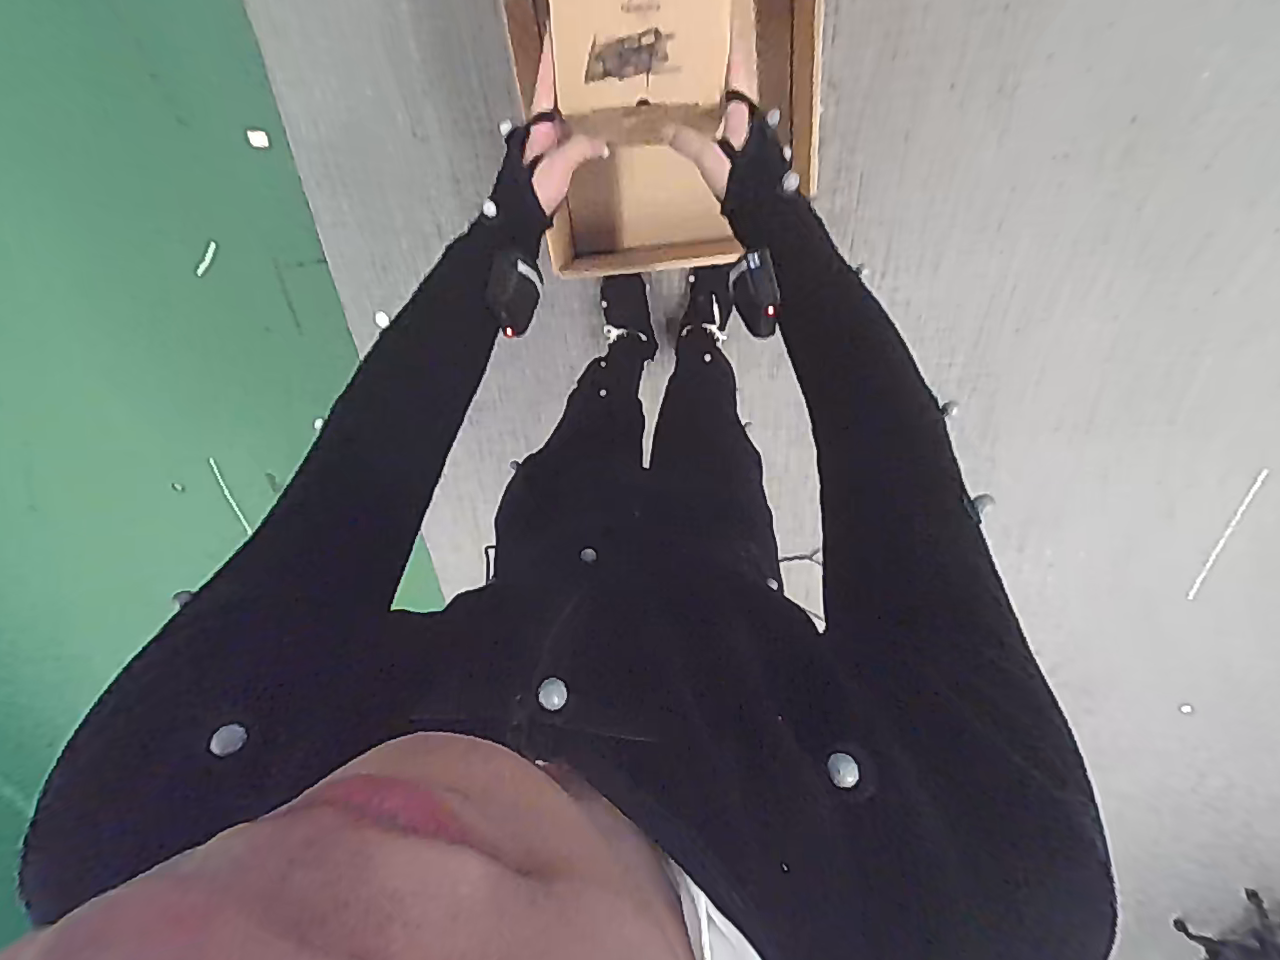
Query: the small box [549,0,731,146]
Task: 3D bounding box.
[{"bbox_3d":[0.002,-0.456,0.552,0.168,0.176,0.179,-2,110,1],"label":"small box"}]
